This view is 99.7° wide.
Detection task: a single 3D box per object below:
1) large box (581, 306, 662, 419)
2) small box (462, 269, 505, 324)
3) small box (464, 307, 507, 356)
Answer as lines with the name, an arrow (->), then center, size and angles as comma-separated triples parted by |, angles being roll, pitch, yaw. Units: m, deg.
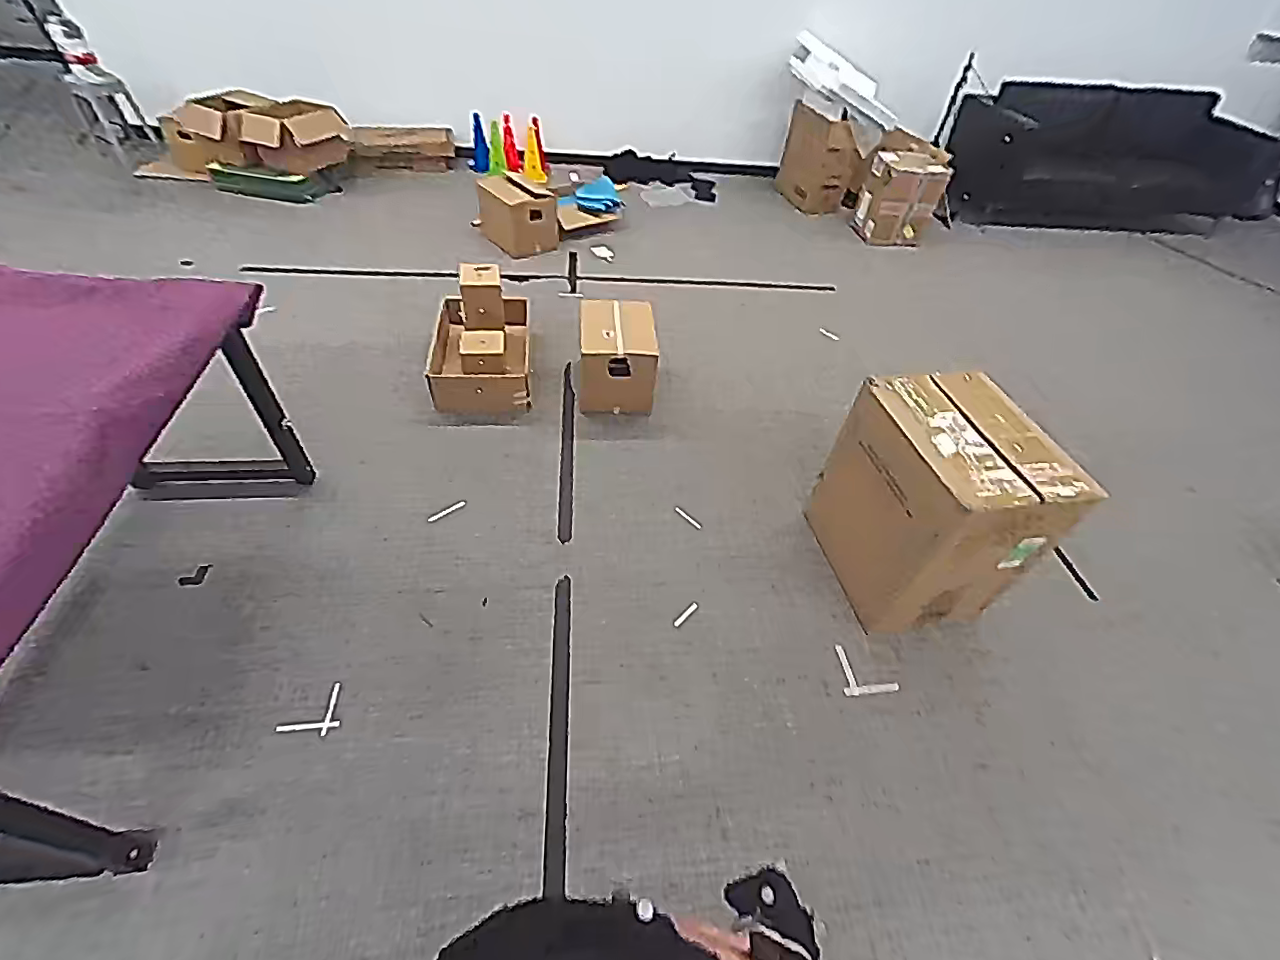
large box -> -0.095, -0.514, 2.365 | 0.320, 0.320, 0.408 | -1, 48, -6
small box -> -0.683, -0.804, 2.365 | 0.168, 0.176, 0.179 | -5, 50, -11
small box -> -0.705, -0.684, 2.479 | 0.179, 0.176, 0.168 | -8, 50, -15
